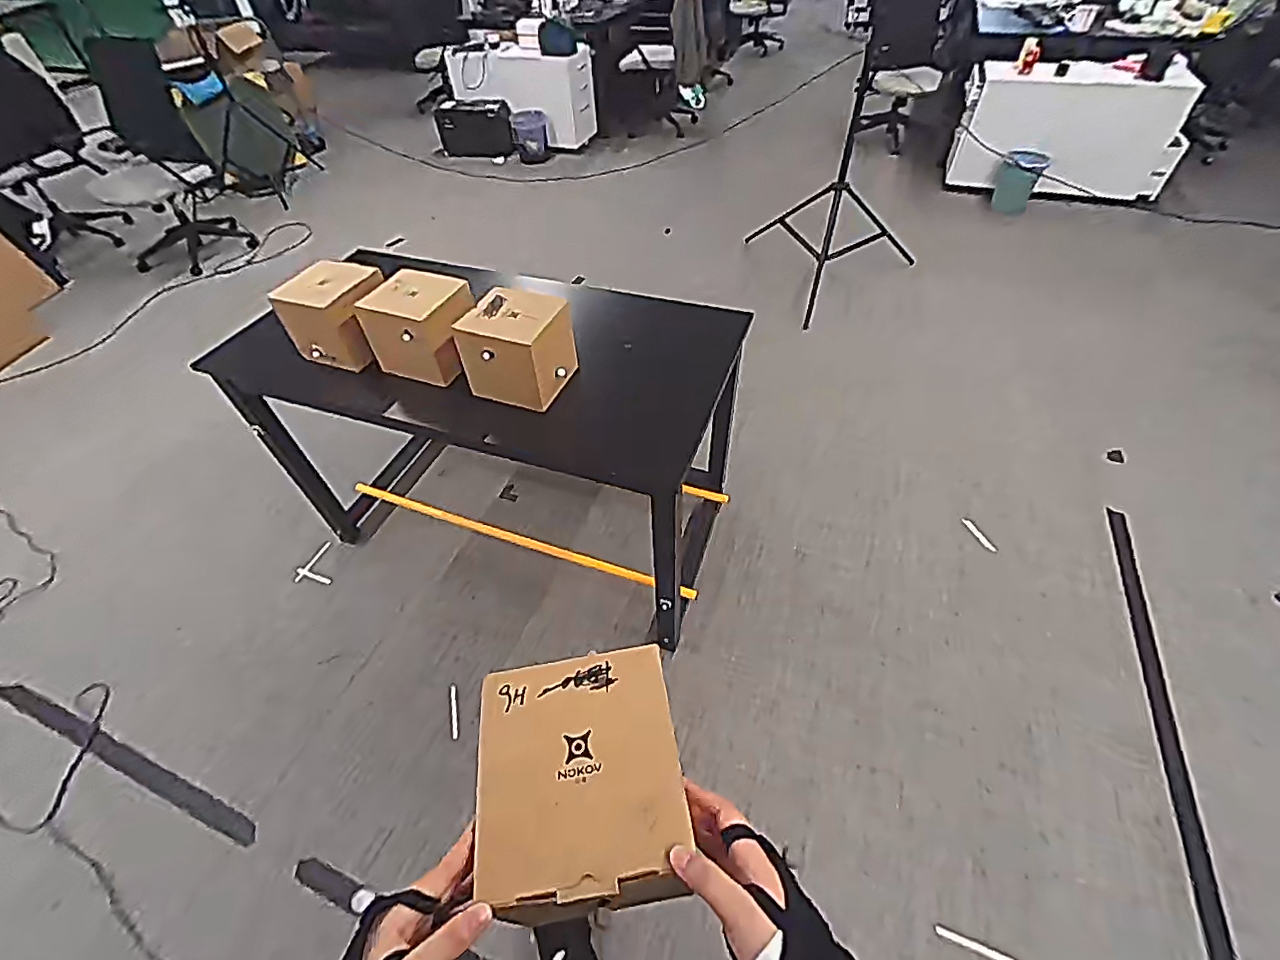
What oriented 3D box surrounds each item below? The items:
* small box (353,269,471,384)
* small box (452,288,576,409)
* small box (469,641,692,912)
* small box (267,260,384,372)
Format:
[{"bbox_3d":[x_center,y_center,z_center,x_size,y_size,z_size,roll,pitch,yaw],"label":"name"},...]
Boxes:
[{"bbox_3d":[-0.473,-0.332,1.182,0.179,0.176,0.168,15,51,16],"label":"small box"},{"bbox_3d":[-0.250,-0.269,1.116,0.179,0.176,0.168,15,51,15],"label":"small box"},{"bbox_3d":[-0.048,0.277,0.500,0.168,0.176,0.179,-9,48,-3],"label":"small box"},{"bbox_3d":[-0.683,-0.374,1.233,0.168,0.176,0.179,13,51,16],"label":"small box"}]
